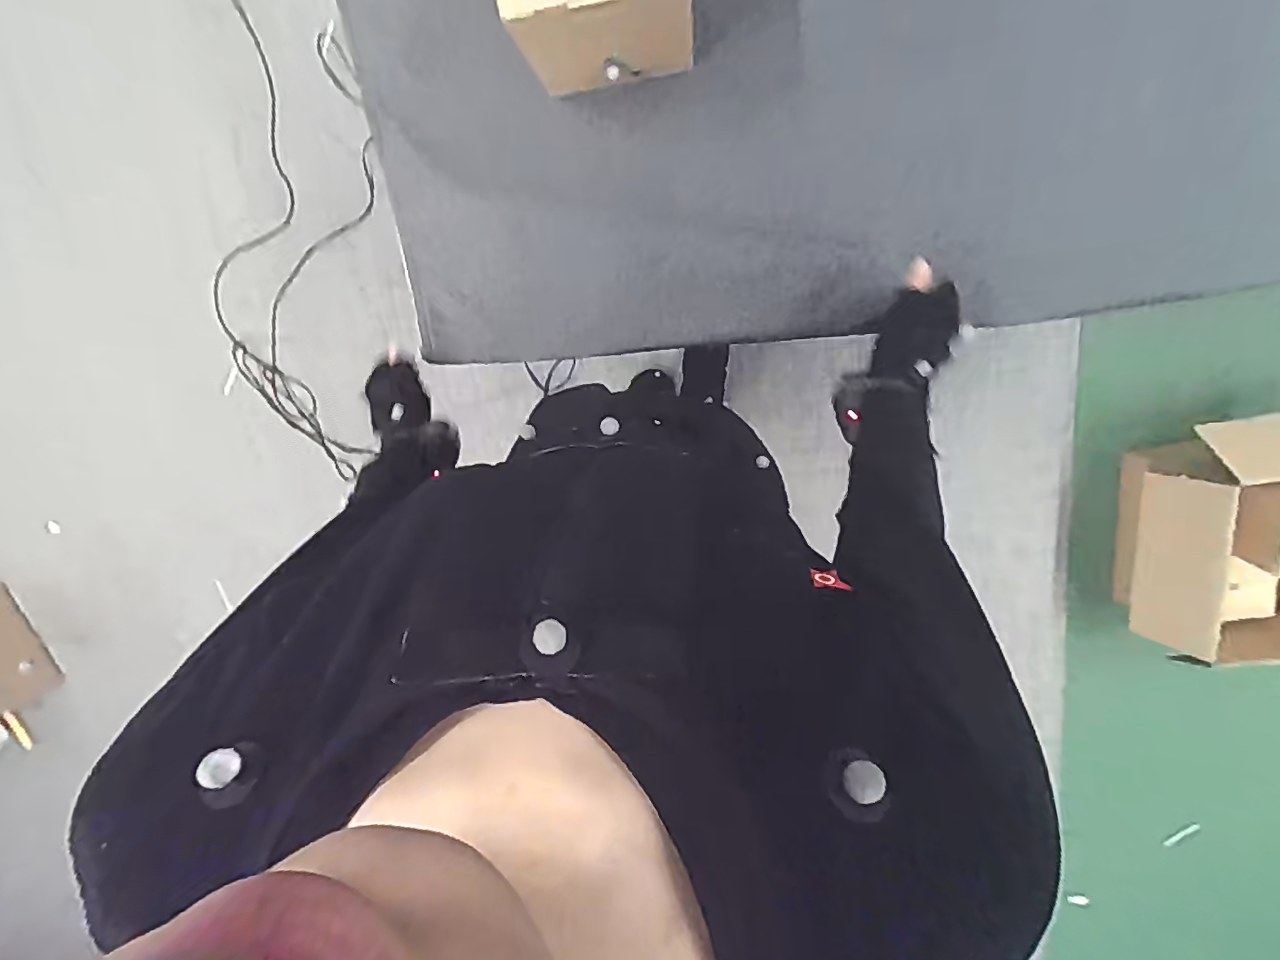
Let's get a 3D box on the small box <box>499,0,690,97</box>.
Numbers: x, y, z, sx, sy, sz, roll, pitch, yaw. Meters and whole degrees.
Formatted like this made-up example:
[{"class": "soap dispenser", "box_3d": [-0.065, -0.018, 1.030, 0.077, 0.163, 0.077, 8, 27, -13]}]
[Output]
[{"class": "small box", "box_3d": [-0.042, -0.508, 0.514, 0.168, 0.176, 0.179, -6, 106, 8]}]
